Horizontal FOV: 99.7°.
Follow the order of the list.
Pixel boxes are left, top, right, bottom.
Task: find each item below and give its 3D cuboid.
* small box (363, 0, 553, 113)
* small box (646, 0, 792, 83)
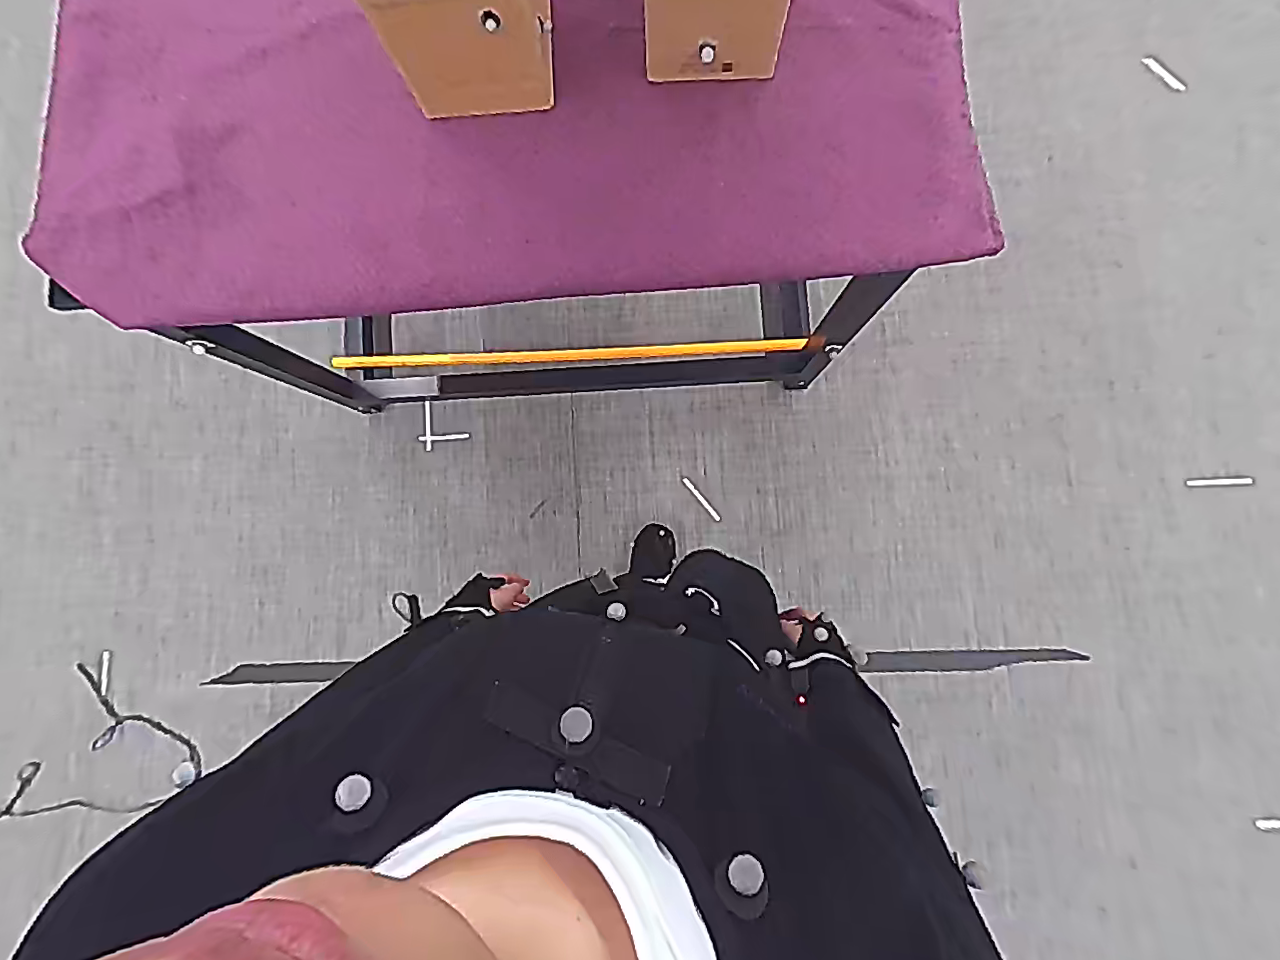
[{"bbox_3d":[-0.209,-0.578,0.650,0.179,0.176,0.168,-3,84,2],"label":"small box"},{"bbox_3d":[0.091,-0.618,0.639,0.168,0.176,0.179,1,85,3],"label":"small box"}]
